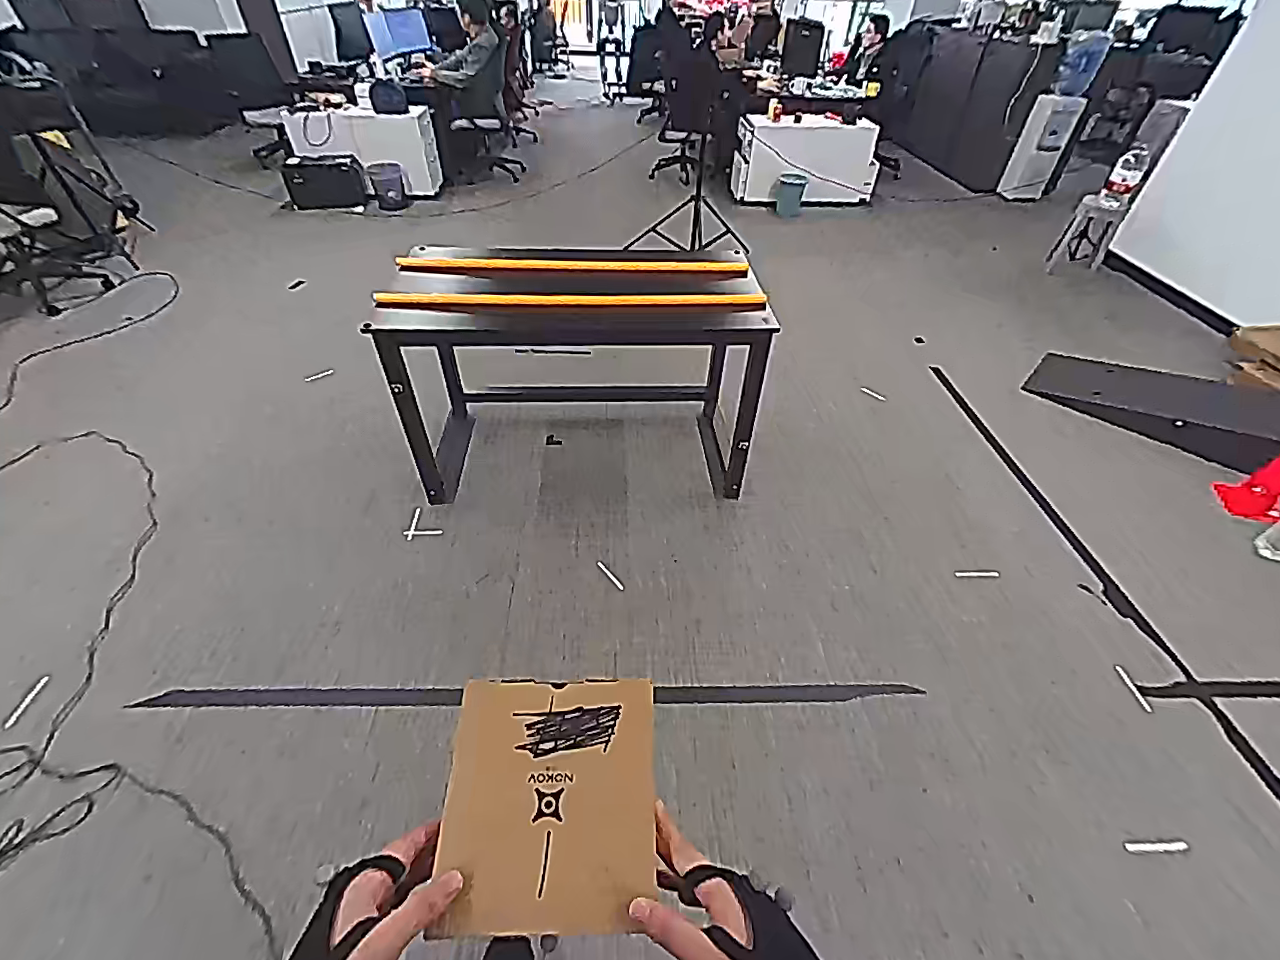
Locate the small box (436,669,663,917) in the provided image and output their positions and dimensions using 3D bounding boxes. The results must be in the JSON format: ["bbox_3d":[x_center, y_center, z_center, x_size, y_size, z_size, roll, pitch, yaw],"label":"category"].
[{"bbox_3d":[-0.068,0.290,0.500,0.168,0.176,0.179,0,53,-1],"label":"small box"}]
